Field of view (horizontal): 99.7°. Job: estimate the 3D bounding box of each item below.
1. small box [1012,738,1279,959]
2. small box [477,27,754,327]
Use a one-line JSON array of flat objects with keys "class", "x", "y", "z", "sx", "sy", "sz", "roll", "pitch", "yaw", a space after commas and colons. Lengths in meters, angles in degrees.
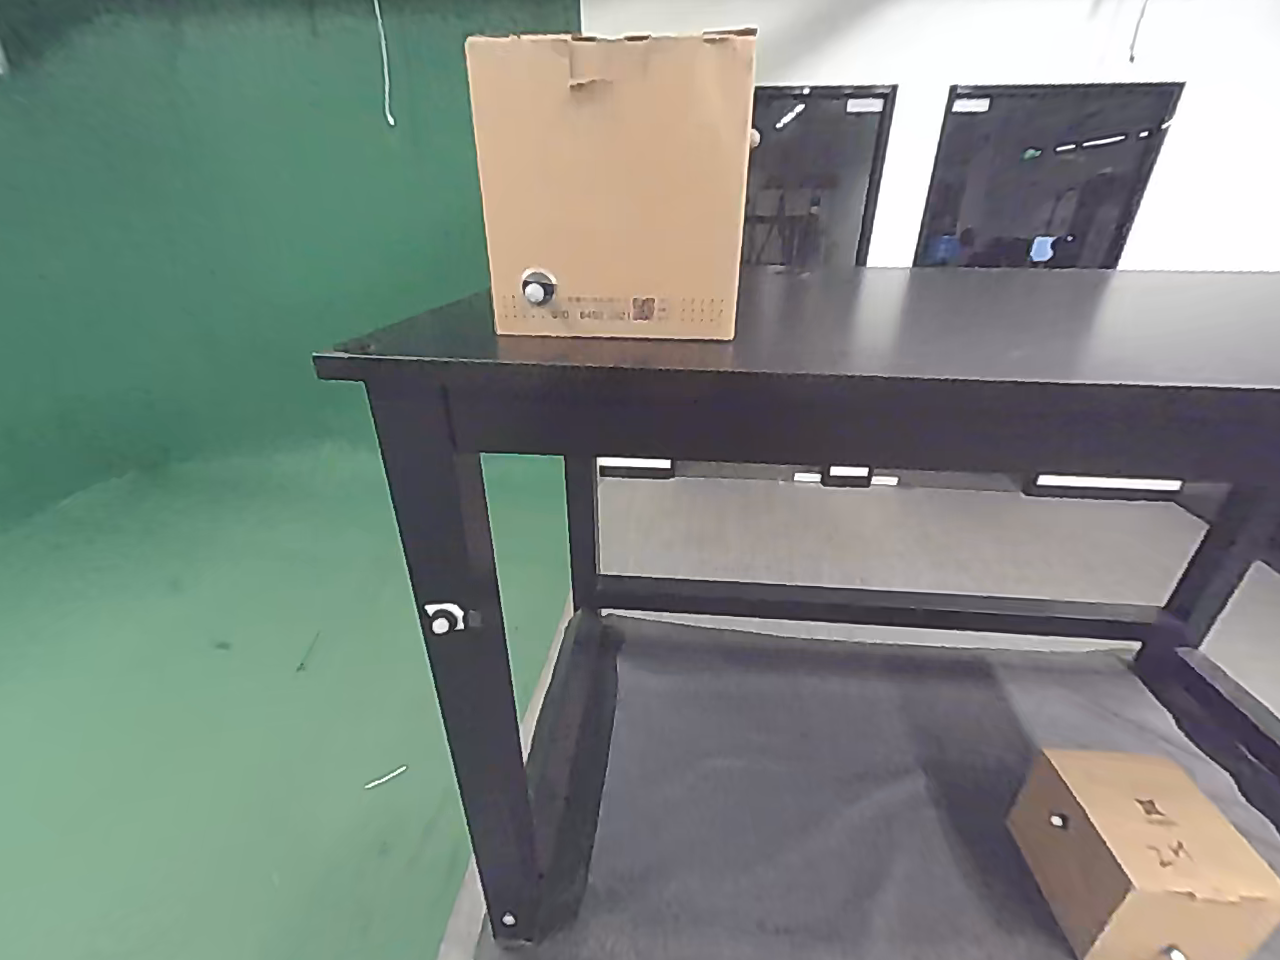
[{"class": "small box", "x": 0.618, "y": 0.466, "z": 0.689, "sx": 0.168, "sy": 0.176, "sz": 0.179, "roll": 1, "pitch": 25, "yaw": 4}, {"class": "small box", "x": -0.009, "y": -0.217, "z": 0.418, "sx": 0.168, "sy": 0.176, "sz": 0.179, "roll": 2, "pitch": 25, "yaw": 3}]
